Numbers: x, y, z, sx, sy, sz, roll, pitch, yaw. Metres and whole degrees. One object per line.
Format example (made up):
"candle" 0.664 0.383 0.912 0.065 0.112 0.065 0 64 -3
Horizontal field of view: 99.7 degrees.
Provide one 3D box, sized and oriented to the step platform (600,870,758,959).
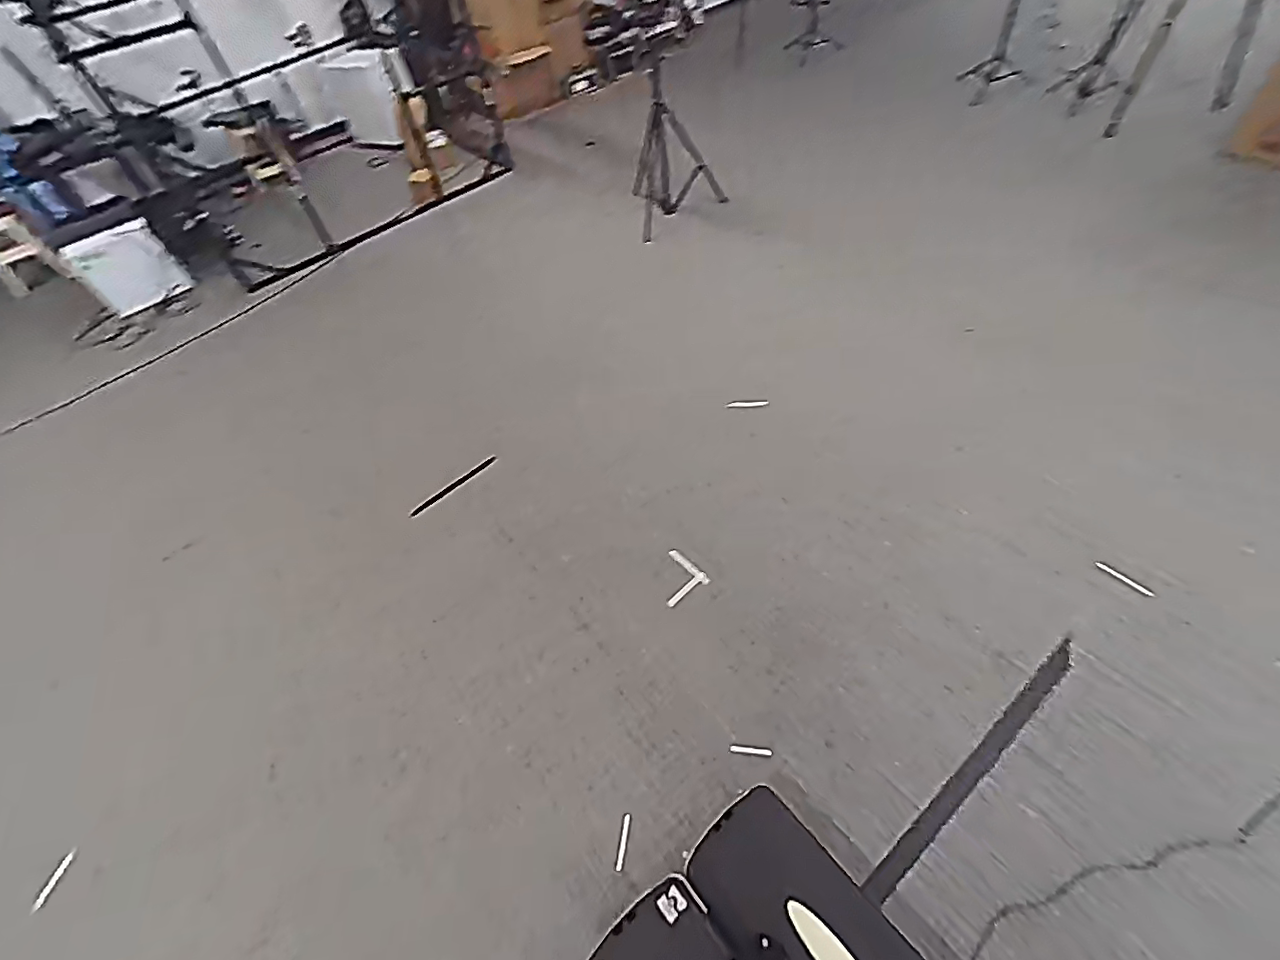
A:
"step platform" 0.214 1.140 1.020 0.286 0.204 0.684 -37 54 -20
